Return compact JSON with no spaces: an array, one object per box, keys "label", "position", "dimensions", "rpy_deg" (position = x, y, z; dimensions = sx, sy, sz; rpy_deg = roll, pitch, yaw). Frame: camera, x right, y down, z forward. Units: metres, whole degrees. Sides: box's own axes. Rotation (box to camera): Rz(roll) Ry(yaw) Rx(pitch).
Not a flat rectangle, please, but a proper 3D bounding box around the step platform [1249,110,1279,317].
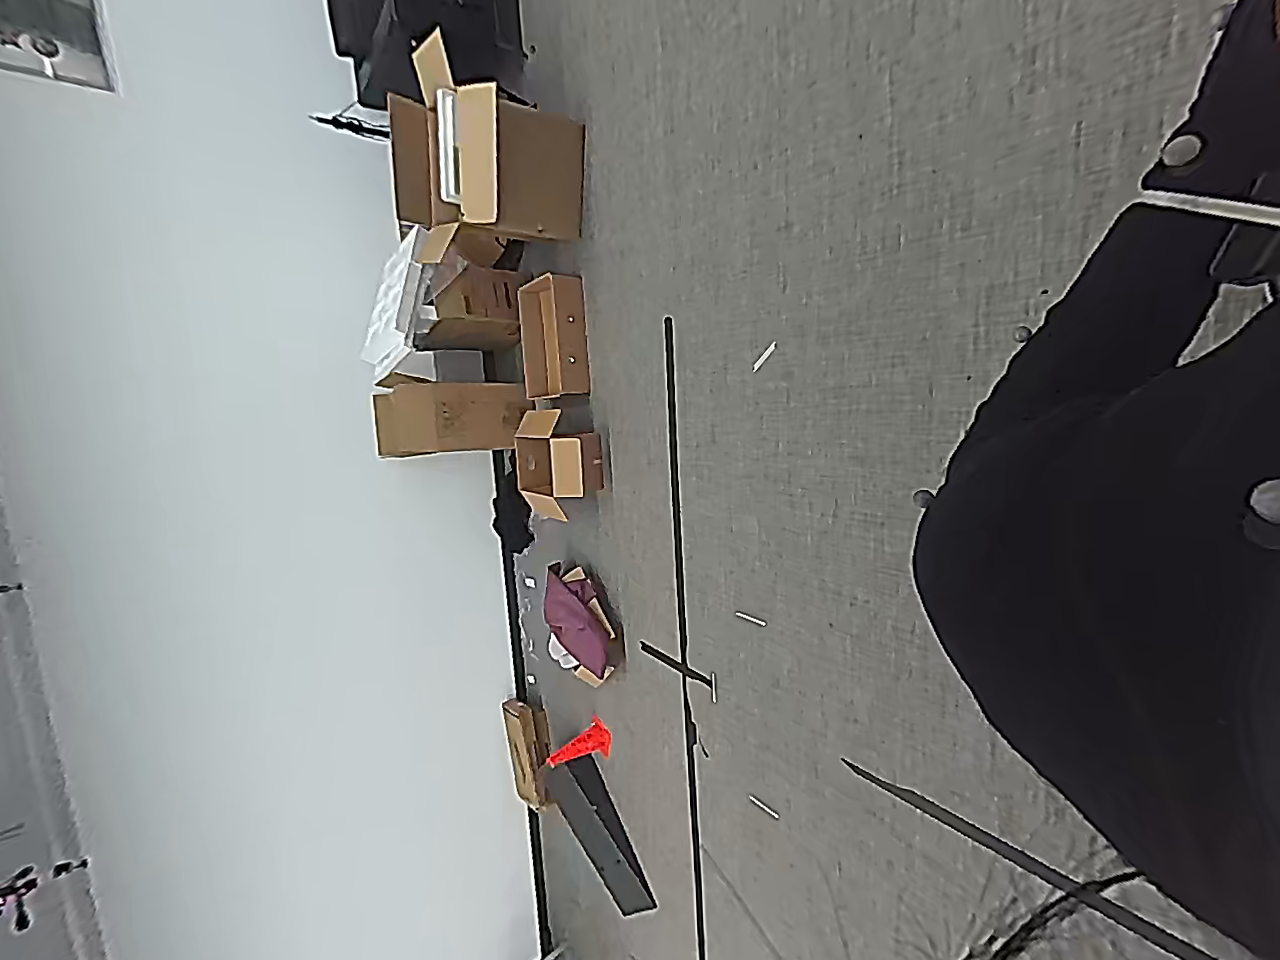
[{"label":"step platform","position":[1.100,-0.354,0.511],"dimensions":[0.684,0.204,0.286],"rpy_deg":[5,101,53]}]
